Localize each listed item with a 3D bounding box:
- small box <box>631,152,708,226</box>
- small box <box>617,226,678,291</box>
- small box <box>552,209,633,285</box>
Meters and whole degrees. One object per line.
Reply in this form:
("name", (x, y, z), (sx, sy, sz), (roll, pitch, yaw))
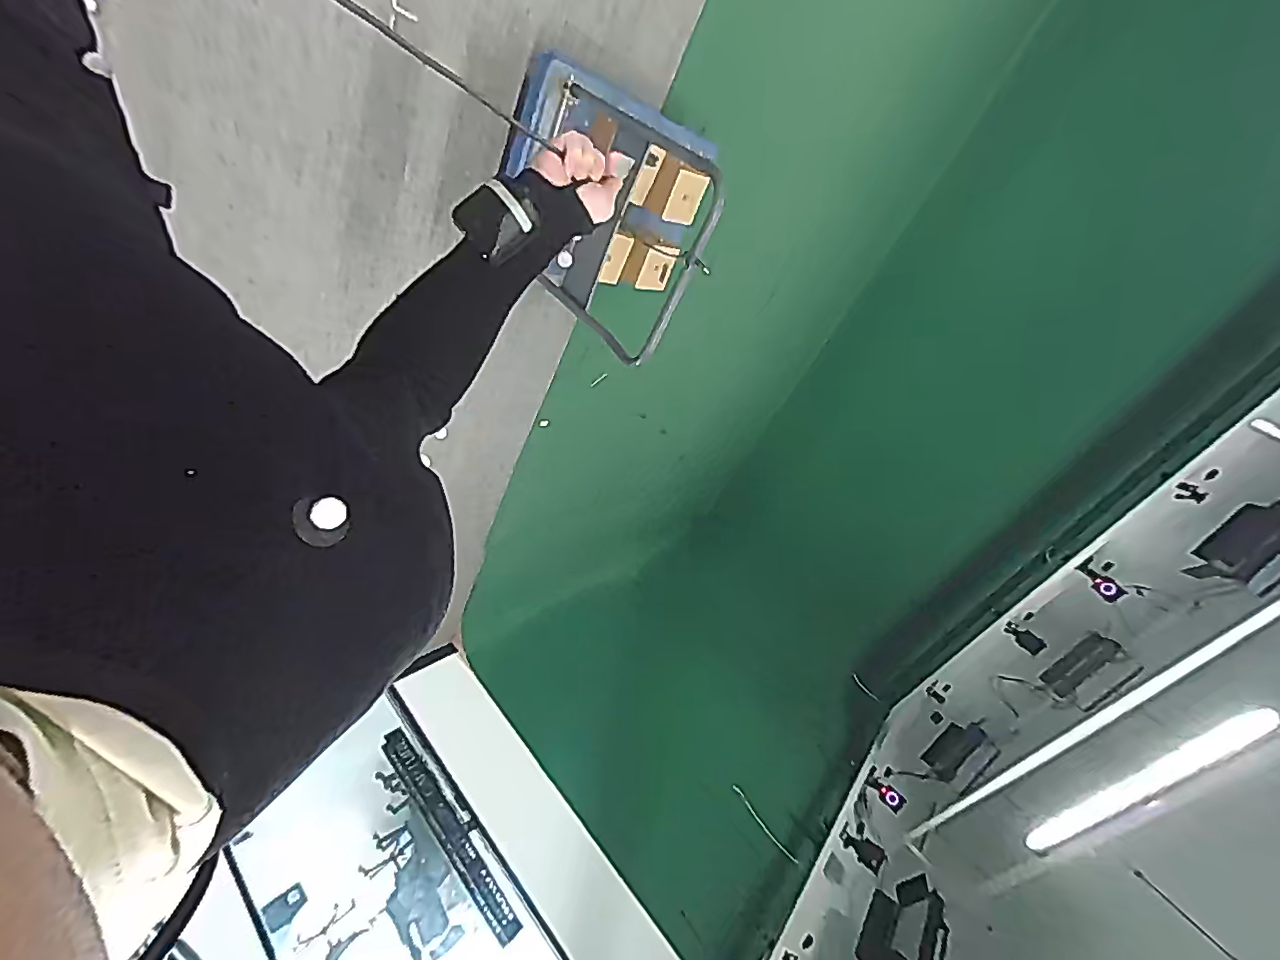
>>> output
("small box", (0.098, -1.016, 1.886), (0.179, 0.176, 0.168), (-19, 145, -47))
("small box", (0.005, -0.830, 2.027), (0.179, 0.176, 0.168), (-17, 143, -46))
("small box", (-0.163, -0.784, 1.821), (0.179, 0.176, 0.168), (-13, 140, -50))
